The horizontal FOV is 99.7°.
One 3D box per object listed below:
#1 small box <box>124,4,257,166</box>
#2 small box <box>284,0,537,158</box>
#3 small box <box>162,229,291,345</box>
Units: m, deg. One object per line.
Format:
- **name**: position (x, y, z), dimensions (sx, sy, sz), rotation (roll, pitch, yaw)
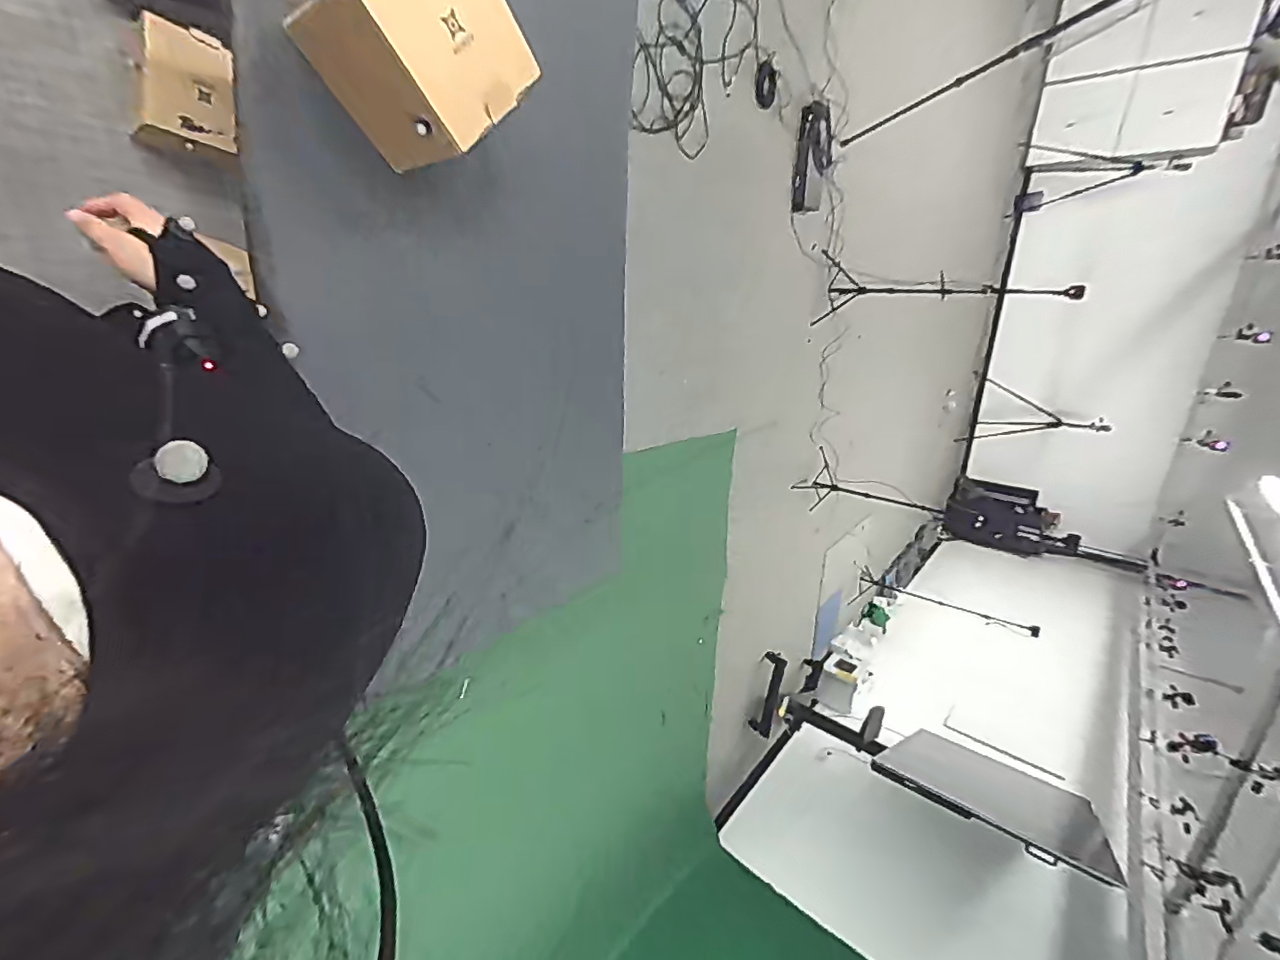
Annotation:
- **small box**: position (-0.846, -0.724, 1.017), dimensions (0.168, 0.176, 0.179), rotation (-3, 105, -50)
- **small box**: position (-0.263, -0.512, 0.628), dimensions (0.168, 0.176, 0.179), rotation (-59, 140, -18)
- **small box**: position (-0.859, -0.393, 1.120), dimensions (0.168, 0.176, 0.179), rotation (9, 94, -53)
